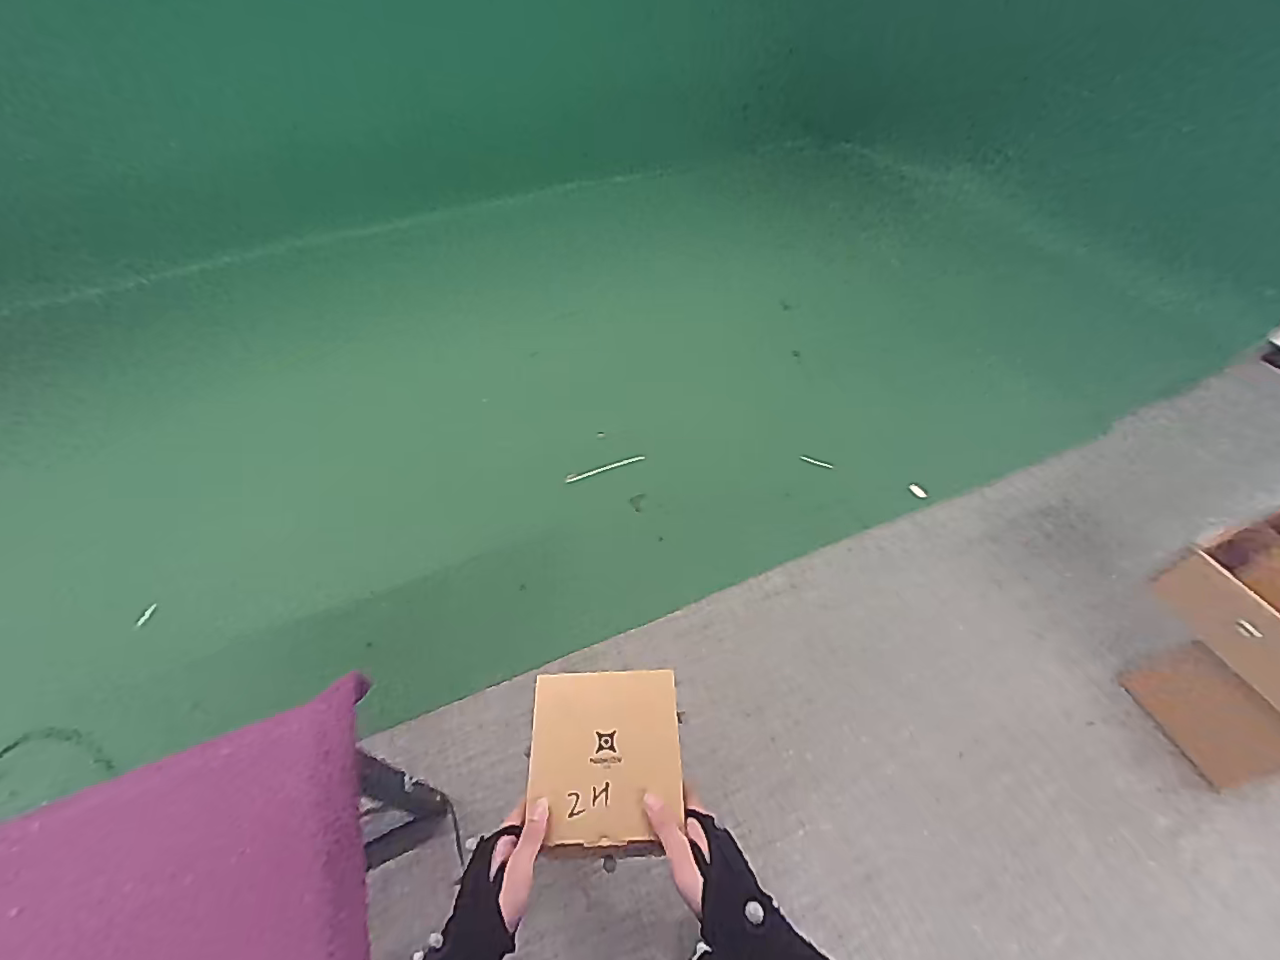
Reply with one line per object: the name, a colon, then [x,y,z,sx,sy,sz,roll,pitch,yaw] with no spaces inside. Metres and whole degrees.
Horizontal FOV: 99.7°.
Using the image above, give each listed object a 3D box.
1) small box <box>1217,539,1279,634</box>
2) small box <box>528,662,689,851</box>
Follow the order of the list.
small box: [1.450,0.221,1.178,0.168,0.176,0.179,-20,55,-12]
small box: [-0.032,0.338,0.658,0.168,0.176,0.179,-1,52,0]
